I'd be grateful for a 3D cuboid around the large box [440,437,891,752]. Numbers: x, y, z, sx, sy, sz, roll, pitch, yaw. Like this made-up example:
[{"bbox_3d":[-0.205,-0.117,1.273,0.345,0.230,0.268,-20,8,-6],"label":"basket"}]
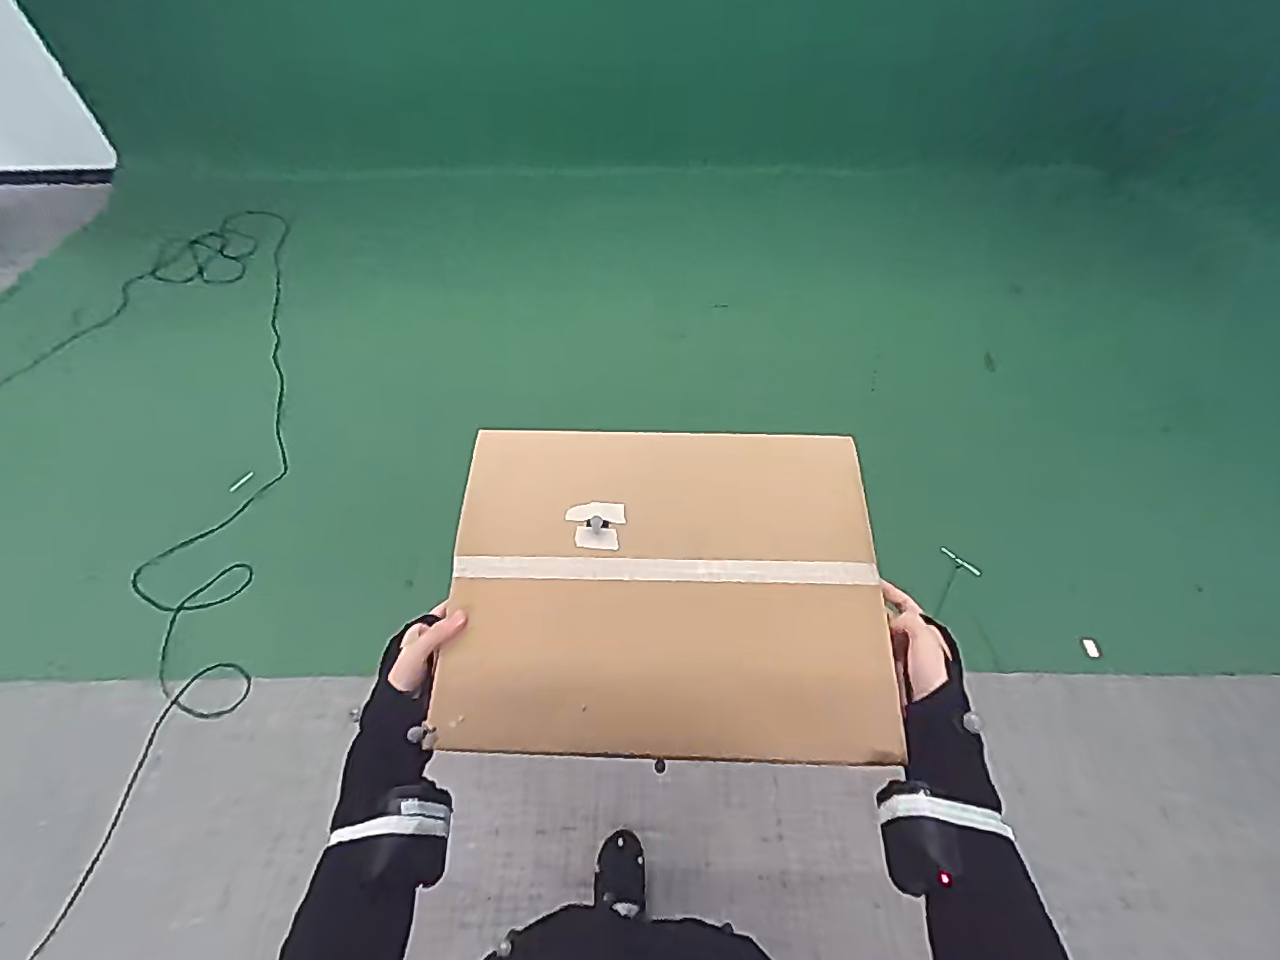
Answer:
[{"bbox_3d":[0.029,0.155,0.669,0.408,0.320,0.320,1,64,3],"label":"large box"}]
